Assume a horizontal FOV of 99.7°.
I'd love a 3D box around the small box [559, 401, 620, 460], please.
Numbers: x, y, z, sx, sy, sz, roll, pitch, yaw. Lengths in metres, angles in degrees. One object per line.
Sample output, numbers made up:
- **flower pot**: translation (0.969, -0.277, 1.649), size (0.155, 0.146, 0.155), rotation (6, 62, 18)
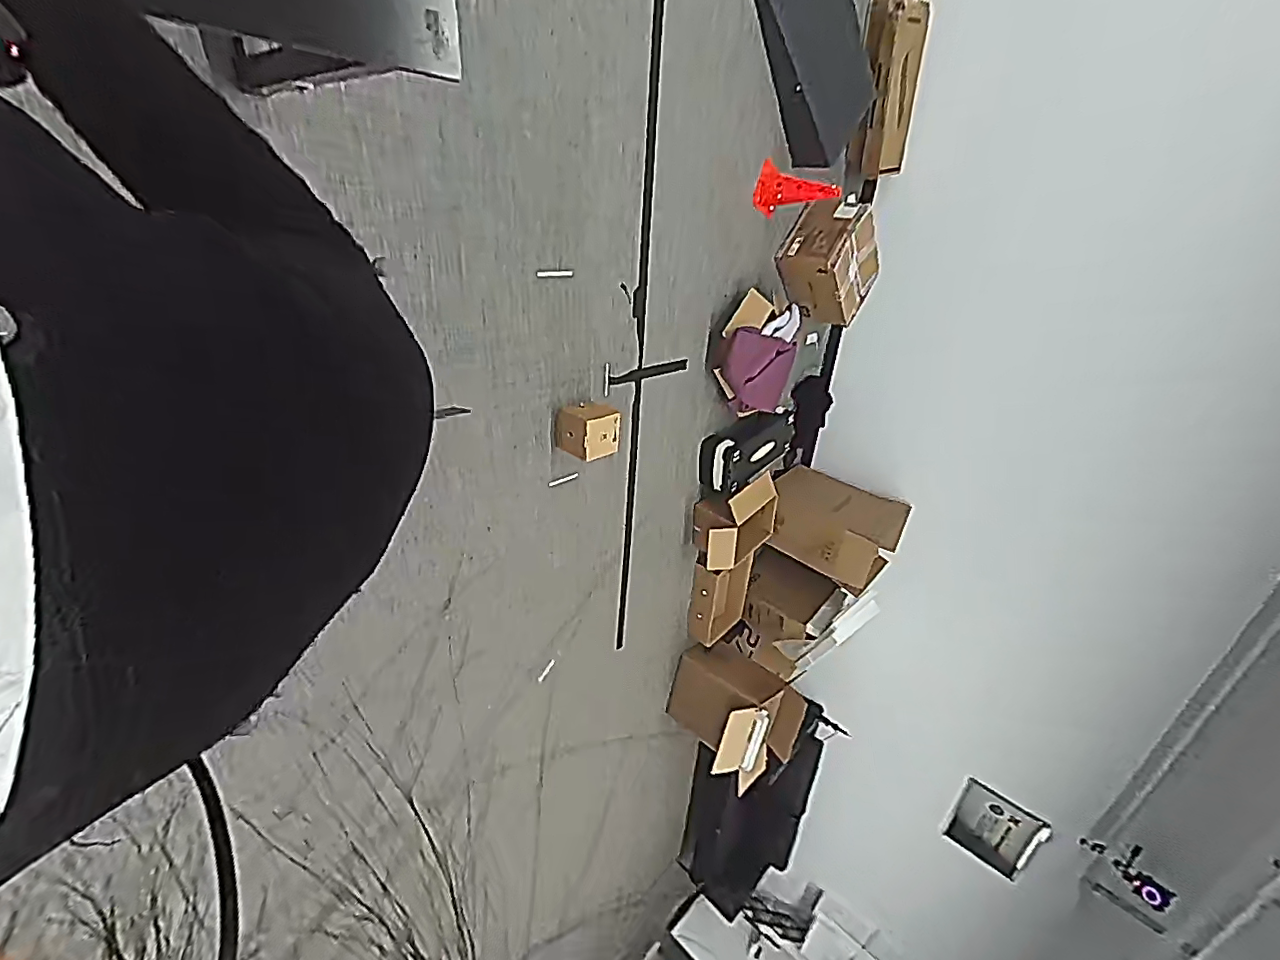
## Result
- **small box**: translation (-0.199, -0.196, 2.099), size (0.179, 0.176, 0.168), rotation (-21, 127, -43)
